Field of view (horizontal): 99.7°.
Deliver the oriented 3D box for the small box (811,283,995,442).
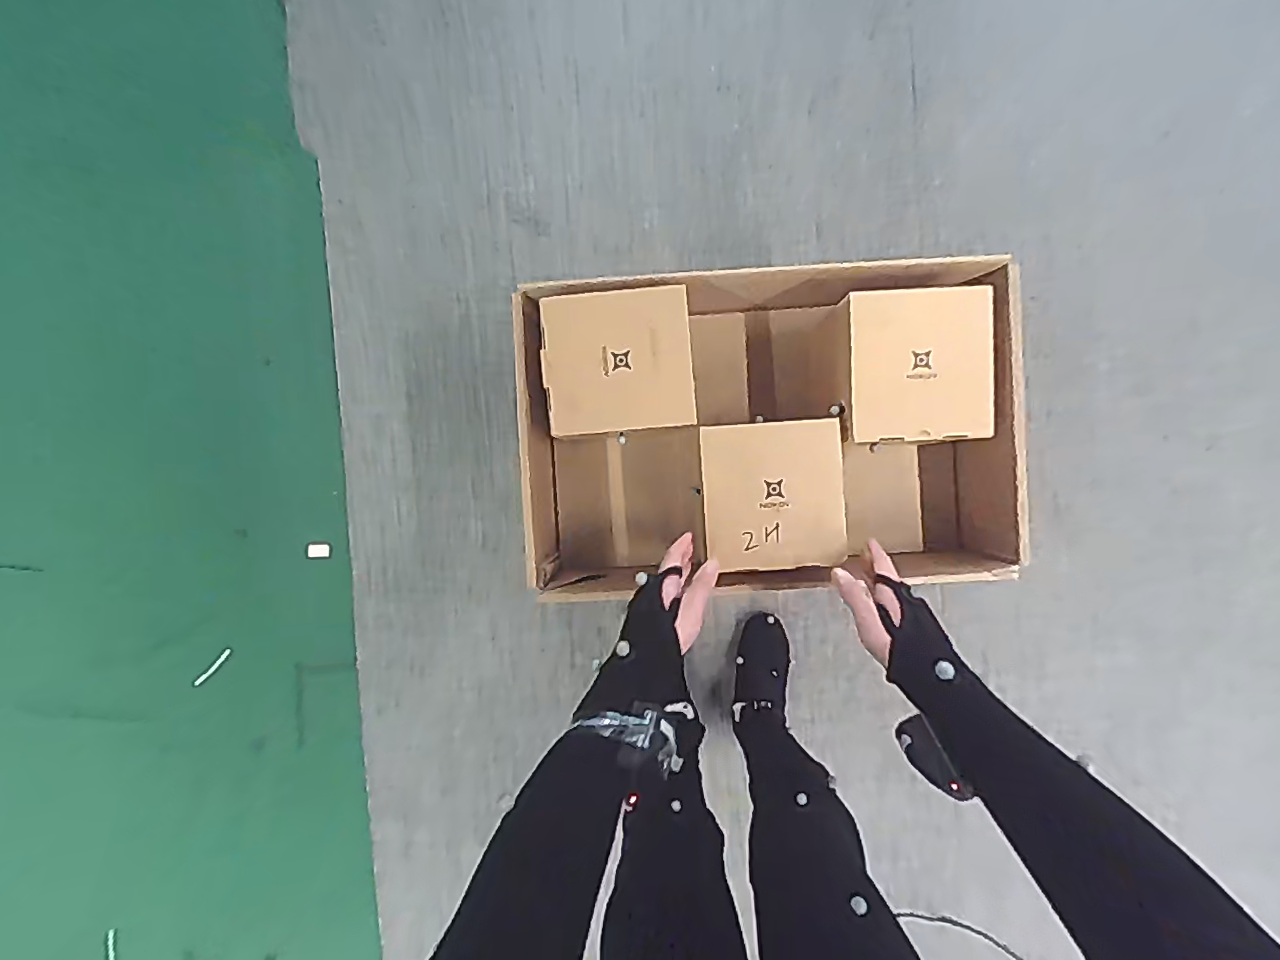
[{"bbox_3d":[0.328,-0.141,0.706,0.168,0.176,0.179,-2,93,1],"label":"small box"}]
